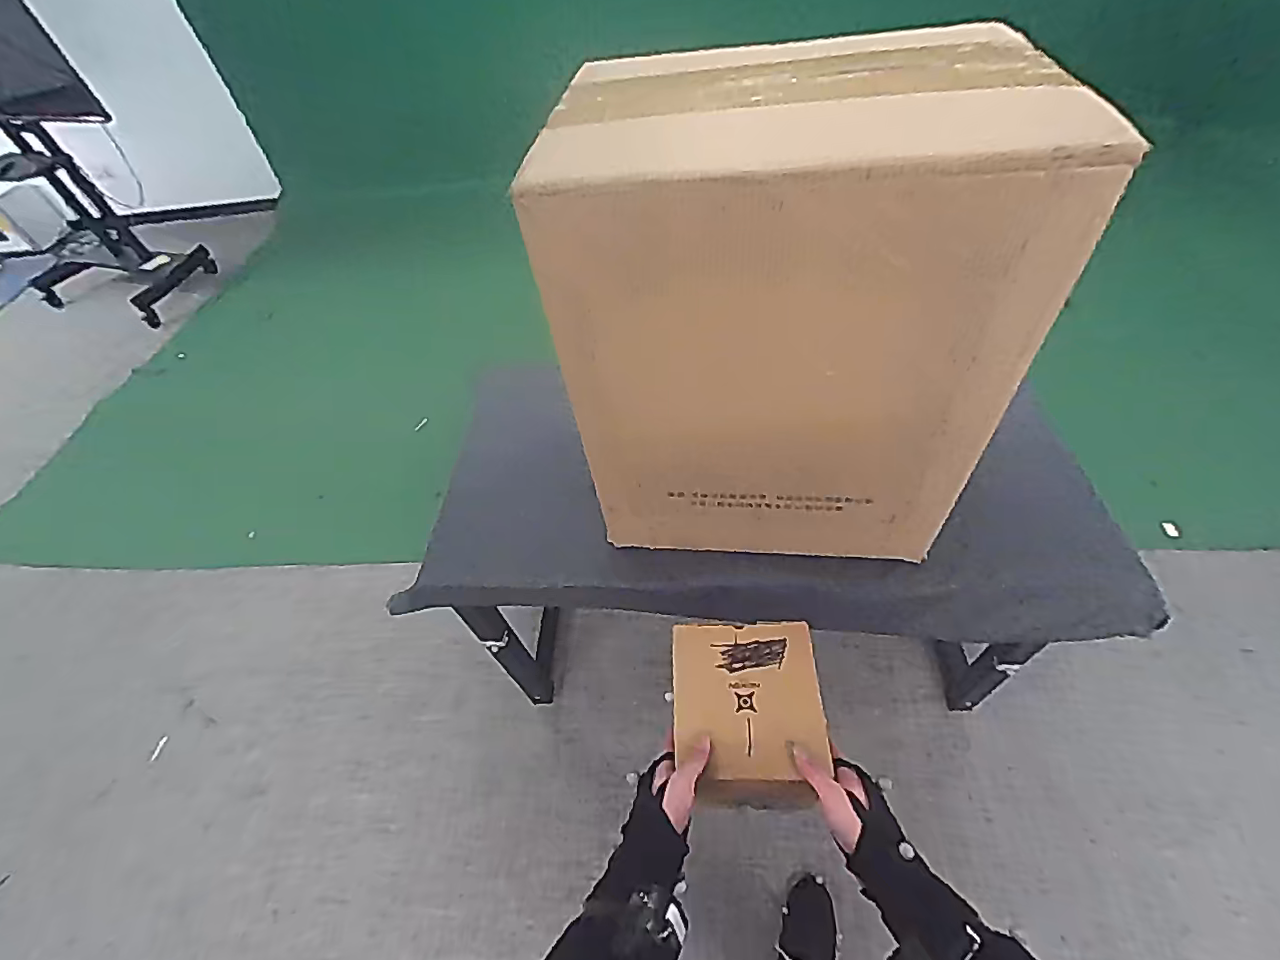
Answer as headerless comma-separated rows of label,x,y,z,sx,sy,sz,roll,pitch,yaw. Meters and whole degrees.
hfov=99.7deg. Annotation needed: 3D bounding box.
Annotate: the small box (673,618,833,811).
small box,0.129,0.290,0.669,0.168,0.176,0.179,-2,50,7
